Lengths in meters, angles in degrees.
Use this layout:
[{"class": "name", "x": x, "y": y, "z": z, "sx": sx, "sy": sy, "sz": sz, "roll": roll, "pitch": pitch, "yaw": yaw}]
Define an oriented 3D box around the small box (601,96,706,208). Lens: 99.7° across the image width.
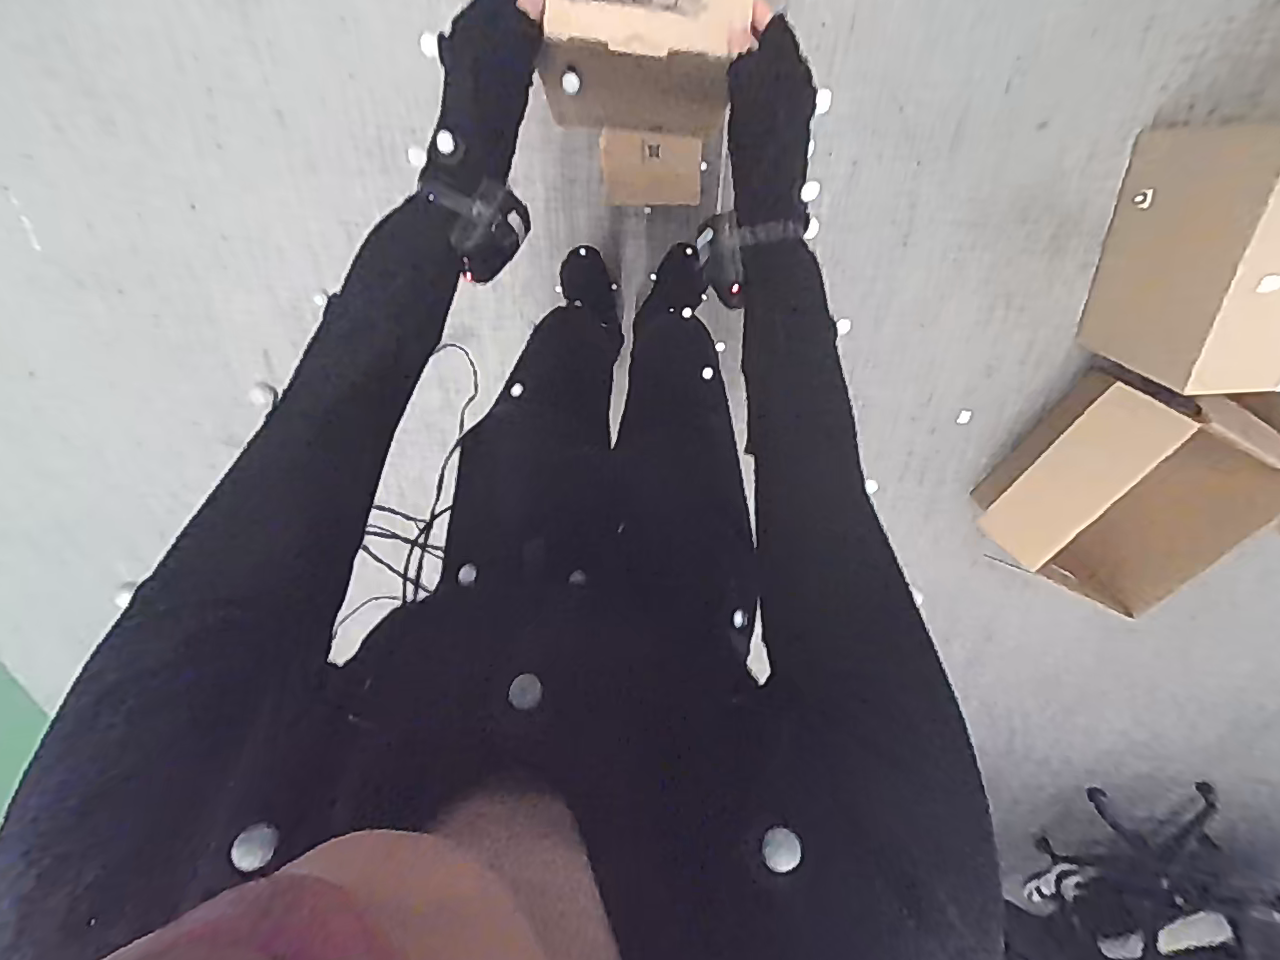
[{"class": "small box", "x": 0.025, "y": -0.600, "z": 0.996, "sx": 0.179, "sy": 0.176, "sz": 0.168, "roll": 2, "pitch": 120, "yaw": 3}]
